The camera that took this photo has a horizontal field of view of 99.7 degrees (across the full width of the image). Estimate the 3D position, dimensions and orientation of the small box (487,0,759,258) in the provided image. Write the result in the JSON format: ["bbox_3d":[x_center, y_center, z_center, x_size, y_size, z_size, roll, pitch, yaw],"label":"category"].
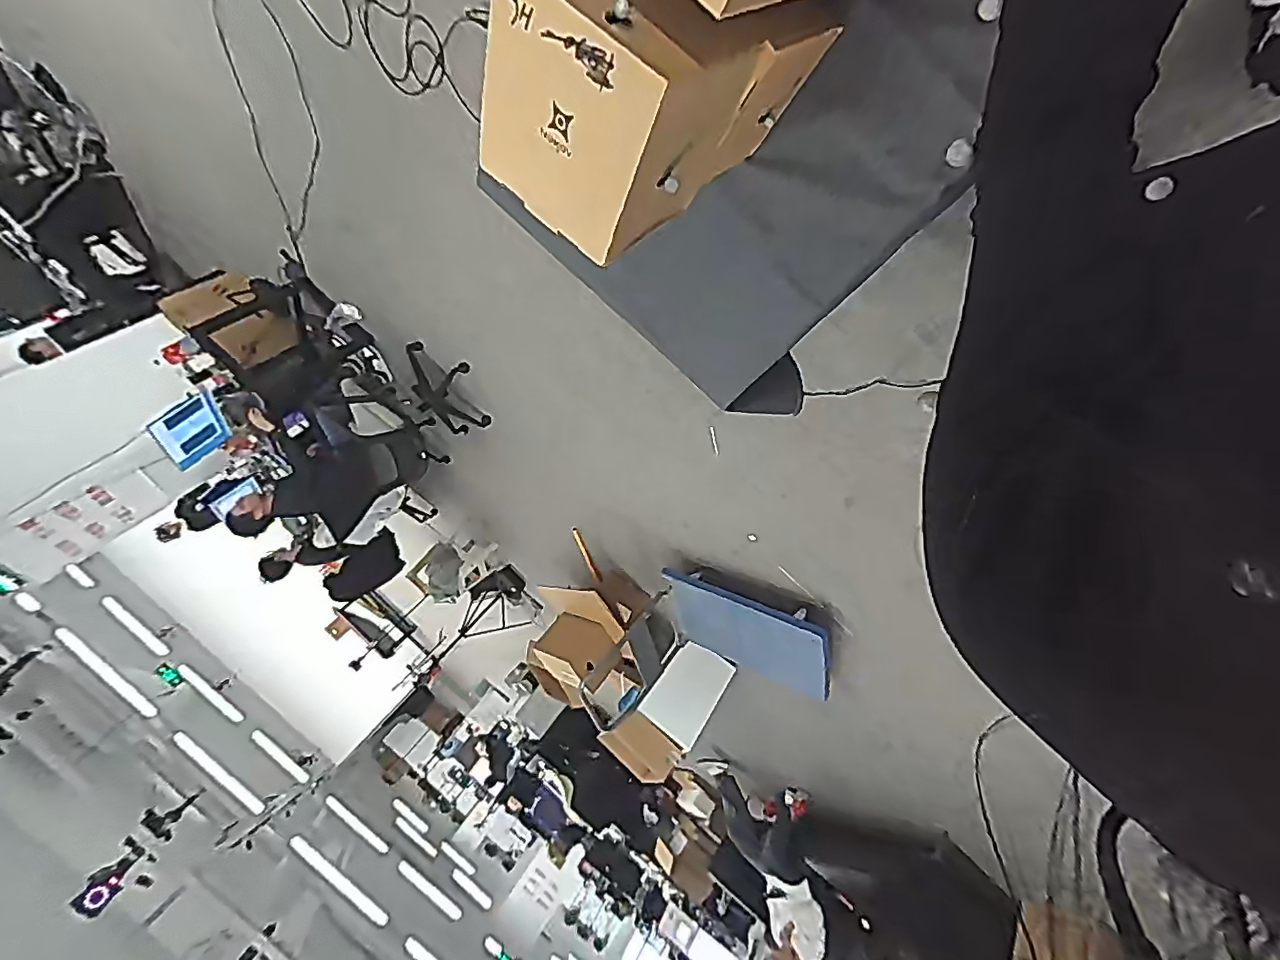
[{"bbox_3d":[-0.018,-0.355,0.504,0.168,0.176,0.179,40,148,2],"label":"small box"}]
